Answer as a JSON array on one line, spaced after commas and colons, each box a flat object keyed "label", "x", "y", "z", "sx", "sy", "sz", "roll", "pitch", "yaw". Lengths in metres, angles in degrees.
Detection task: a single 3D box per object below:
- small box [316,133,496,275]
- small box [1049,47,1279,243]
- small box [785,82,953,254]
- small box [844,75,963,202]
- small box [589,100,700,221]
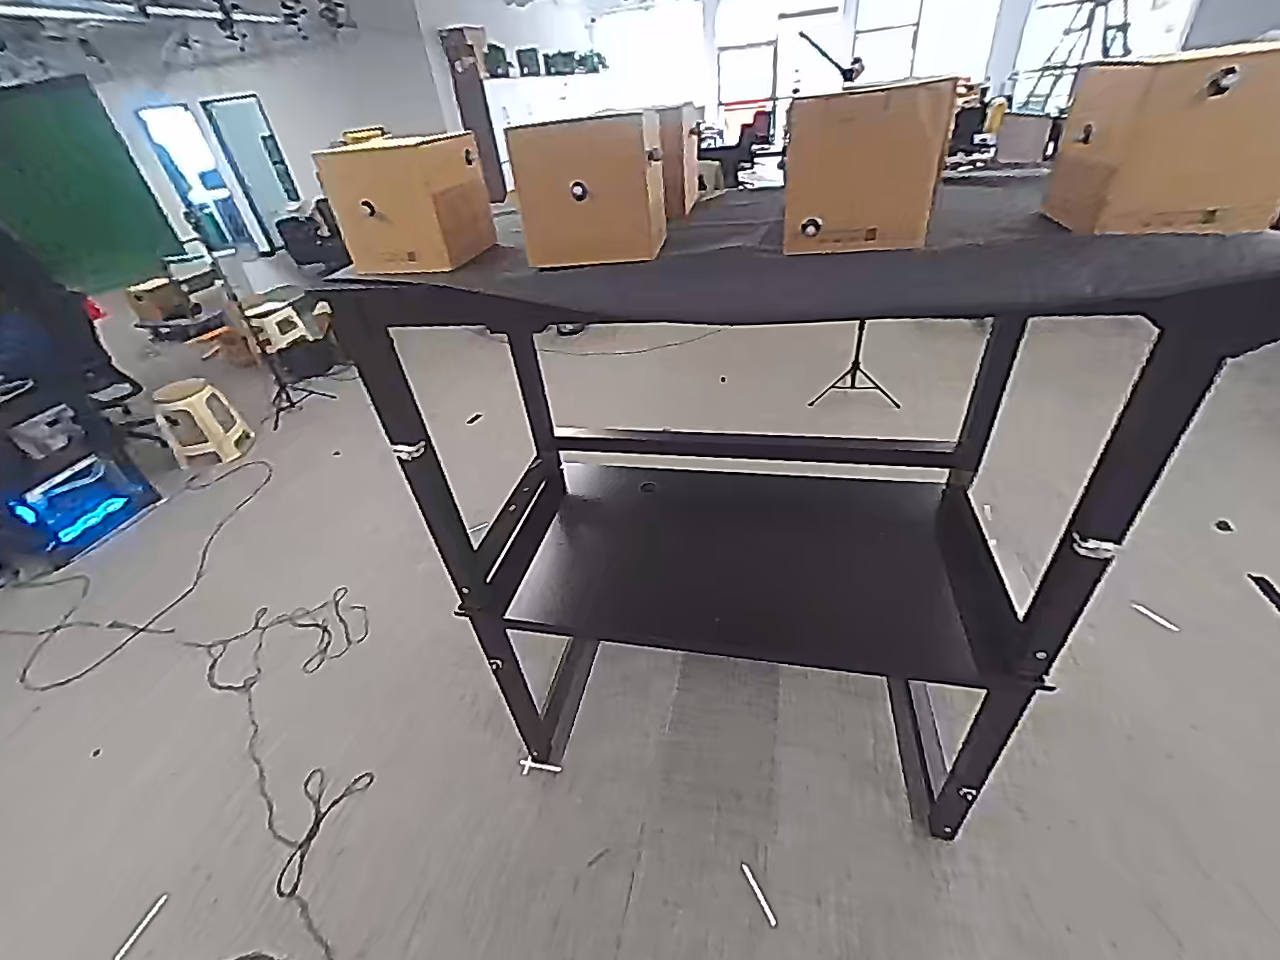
[{"label": "small box", "x": -0.343, "y": -0.422, "z": 0.836, "sx": 0.168, "sy": 0.176, "sz": 0.179, "roll": 3, "pitch": 37, "yaw": 12}, {"label": "small box", "x": 0.608, "y": -0.377, "z": 0.616, "sx": 0.168, "sy": 0.176, "sz": 0.179, "roll": 2, "pitch": 36, "yaw": 14}, {"label": "small box", "x": 0.276, "y": -0.391, "z": 0.690, "sx": 0.168, "sy": 0.176, "sz": 0.179, "roll": 3, "pitch": 35, "yaw": 14}, {"label": "small box", "x": 0.421, "y": -0.564, "z": 0.908, "sx": 0.168, "sy": 0.176, "sz": 0.179, "roll": 8, "pitch": 38, "yaw": 17}, {"label": "small box", "x": 0.018, "y": -0.583, "z": 0.996, "sx": 0.168, "sy": 0.176, "sz": 0.179, "roll": 3, "pitch": 38, "yaw": 13}]
